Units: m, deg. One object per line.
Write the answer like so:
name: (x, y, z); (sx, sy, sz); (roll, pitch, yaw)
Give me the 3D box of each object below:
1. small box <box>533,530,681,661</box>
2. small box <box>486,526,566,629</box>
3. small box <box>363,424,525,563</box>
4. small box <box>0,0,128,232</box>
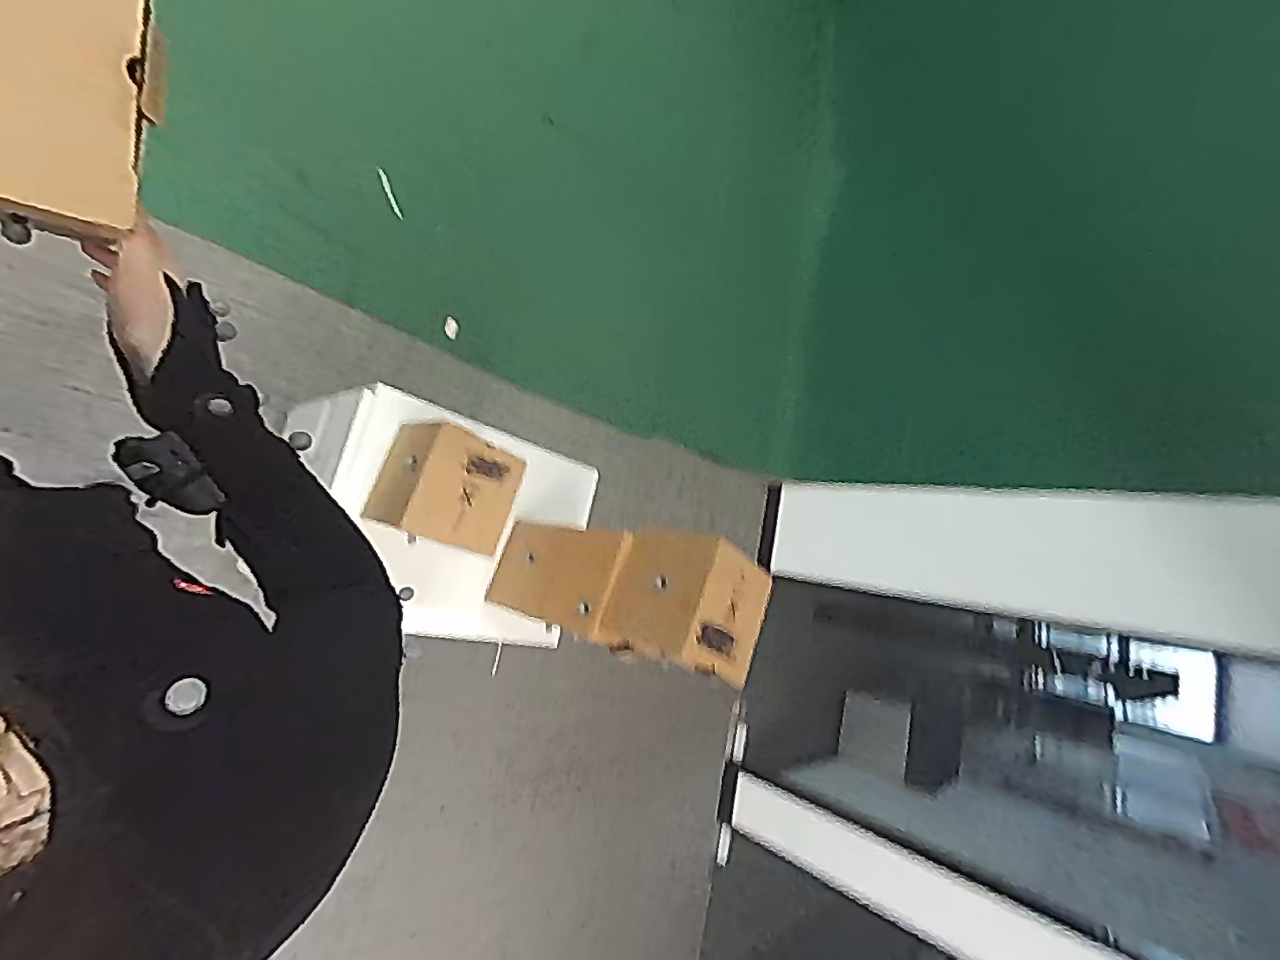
small box: (-0.060, 0.195, 0.943); (0.168, 0.176, 0.179); (31, 70, -41)
small box: (-0.173, 0.198, 1.059); (0.168, 0.176, 0.179); (32, 68, -41)
small box: (-0.328, 0.022, 0.898); (0.168, 0.176, 0.179); (31, 71, -42)
small box: (-0.385, -0.236, 0.268); (0.179, 0.176, 0.168); (0, 102, -49)
